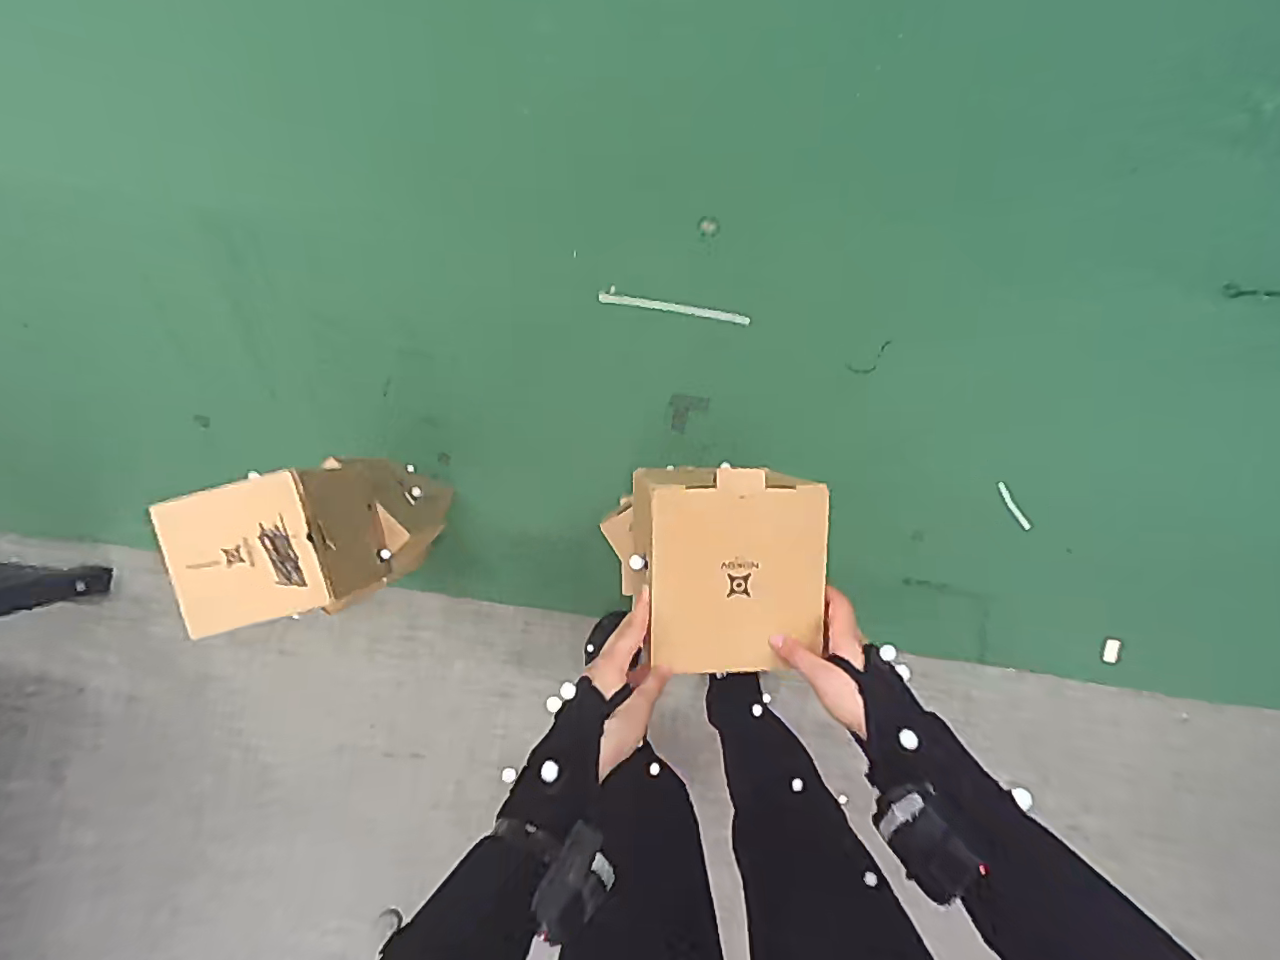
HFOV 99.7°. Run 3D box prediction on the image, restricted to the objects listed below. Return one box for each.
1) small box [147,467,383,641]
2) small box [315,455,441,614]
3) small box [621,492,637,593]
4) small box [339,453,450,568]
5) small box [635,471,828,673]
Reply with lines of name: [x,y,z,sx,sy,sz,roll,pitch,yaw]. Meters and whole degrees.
small box: [-0.459,0.082,0.698,0.179,0.176,0.168,-15,93,0]
small box: [-0.453,0.078,0.863,0.179,0.176,0.168,-45,93,0]
small box: [0.047,0.112,1.035,0.168,0.176,0.179,-1,91,-1]
small box: [-0.486,0.062,1.024,0.168,0.176,0.179,25,91,-3]
small box: [0.084,0.085,0.579,0.168,0.176,0.179,-1,95,-6]
